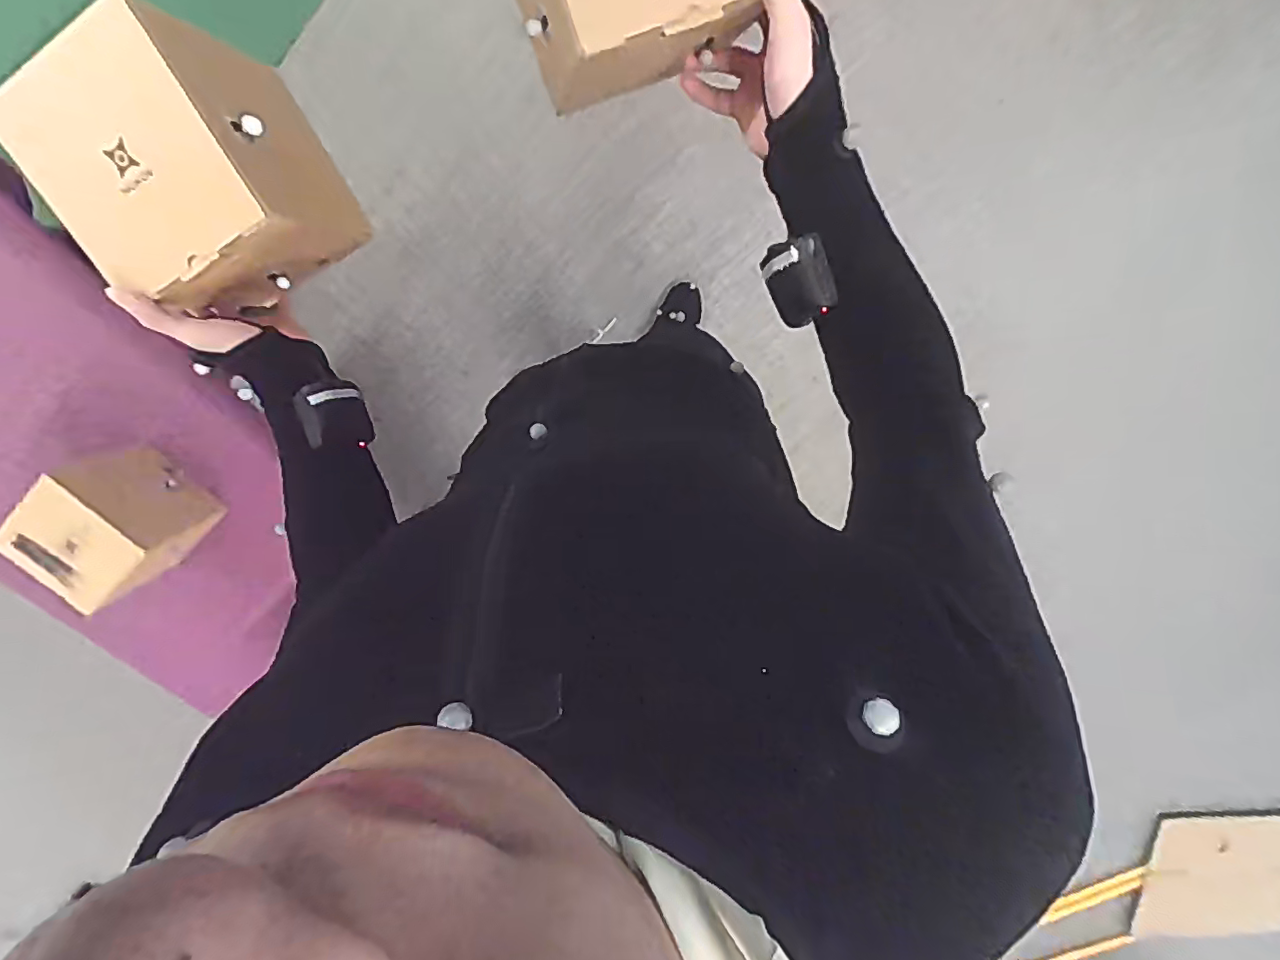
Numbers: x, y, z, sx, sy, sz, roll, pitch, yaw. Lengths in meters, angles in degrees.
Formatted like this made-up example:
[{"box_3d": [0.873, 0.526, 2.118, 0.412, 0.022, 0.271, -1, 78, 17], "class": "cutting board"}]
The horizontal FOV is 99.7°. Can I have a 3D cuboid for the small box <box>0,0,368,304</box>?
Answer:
[{"box_3d": [-0.400, -0.279, 0.499, 0.168, 0.176, 0.179, -24, 107, 11], "class": "small box"}]

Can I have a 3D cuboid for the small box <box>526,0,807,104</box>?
[{"box_3d": [0.000, -0.405, 0.396, 0.168, 0.176, 0.179, -22, 115, -7], "class": "small box"}]
